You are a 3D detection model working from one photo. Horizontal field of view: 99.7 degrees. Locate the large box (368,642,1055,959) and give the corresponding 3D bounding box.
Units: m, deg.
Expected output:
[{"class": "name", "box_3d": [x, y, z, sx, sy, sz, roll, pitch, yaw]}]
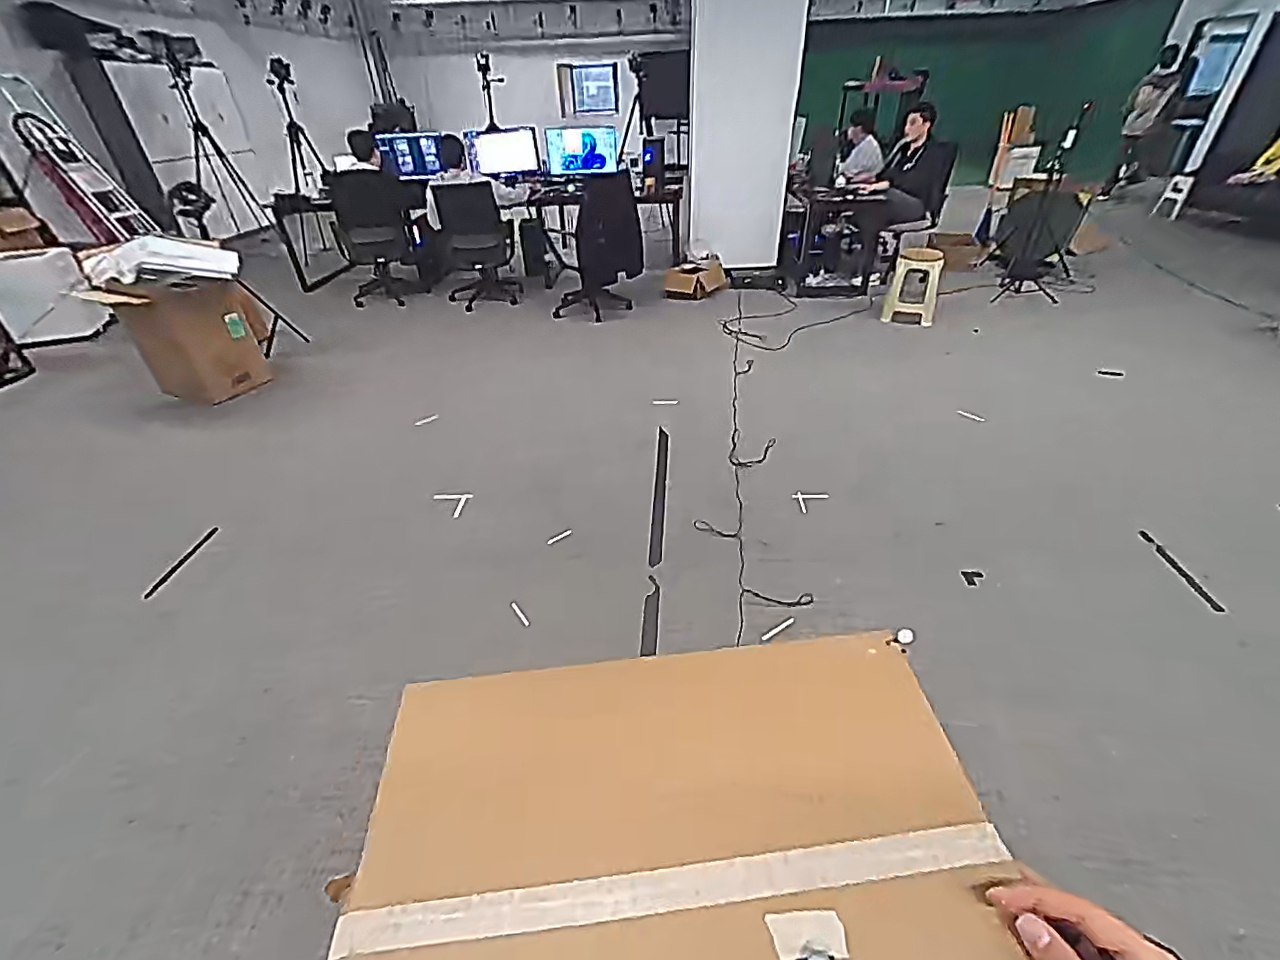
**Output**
[{"class": "large box", "box_3d": [0.037, 0.370, 0.435, 0.408, 0.320, 0.320, -5, 42, -4]}]
